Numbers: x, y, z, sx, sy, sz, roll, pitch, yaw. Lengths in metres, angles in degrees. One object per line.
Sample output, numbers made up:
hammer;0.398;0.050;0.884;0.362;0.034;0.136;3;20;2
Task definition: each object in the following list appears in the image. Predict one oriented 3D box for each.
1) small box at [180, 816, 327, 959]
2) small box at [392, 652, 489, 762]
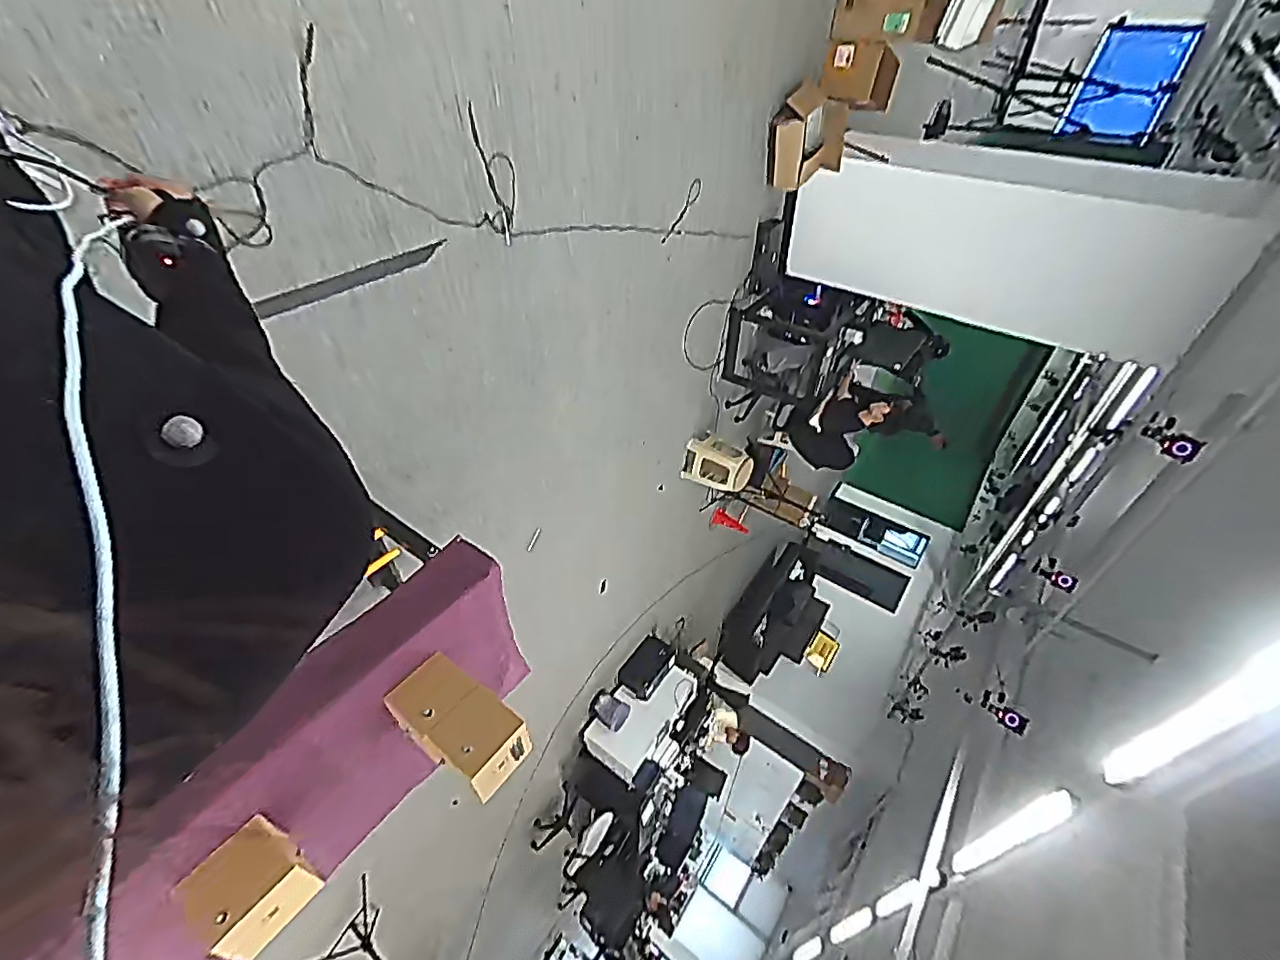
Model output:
small box;-0.832;0.877;1.171;0.179;0.176;0.168;-41;147;-37
small box;-0.539;0.606;1.454;0.179;0.176;0.168;-41;147;-38
